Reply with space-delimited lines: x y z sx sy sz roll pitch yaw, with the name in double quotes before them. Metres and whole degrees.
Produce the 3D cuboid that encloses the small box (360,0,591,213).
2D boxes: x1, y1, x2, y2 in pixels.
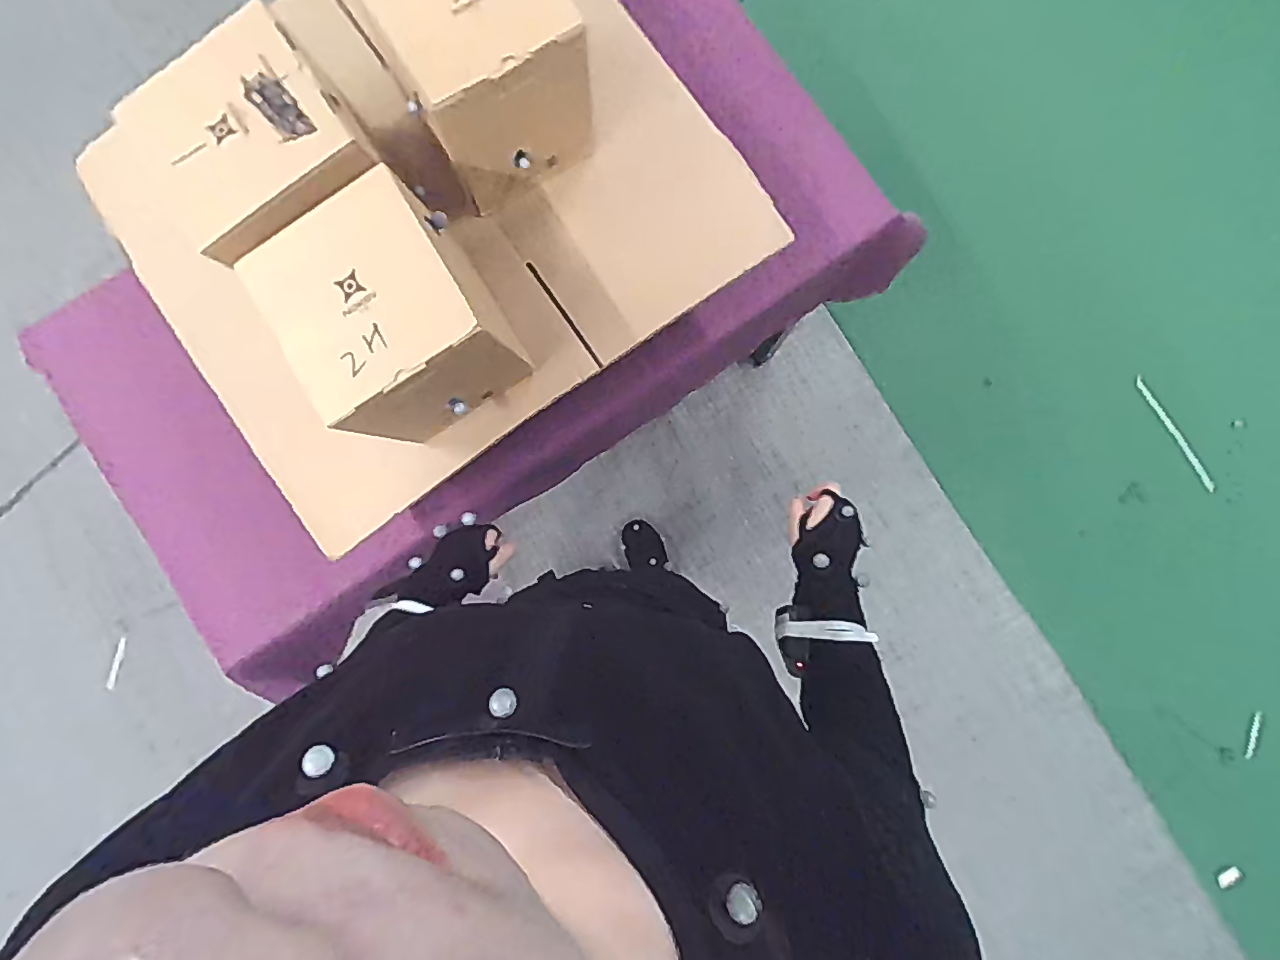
"small box" -0.168 -0.439 0.588 0.168 0.176 0.179 -33 86 -5
